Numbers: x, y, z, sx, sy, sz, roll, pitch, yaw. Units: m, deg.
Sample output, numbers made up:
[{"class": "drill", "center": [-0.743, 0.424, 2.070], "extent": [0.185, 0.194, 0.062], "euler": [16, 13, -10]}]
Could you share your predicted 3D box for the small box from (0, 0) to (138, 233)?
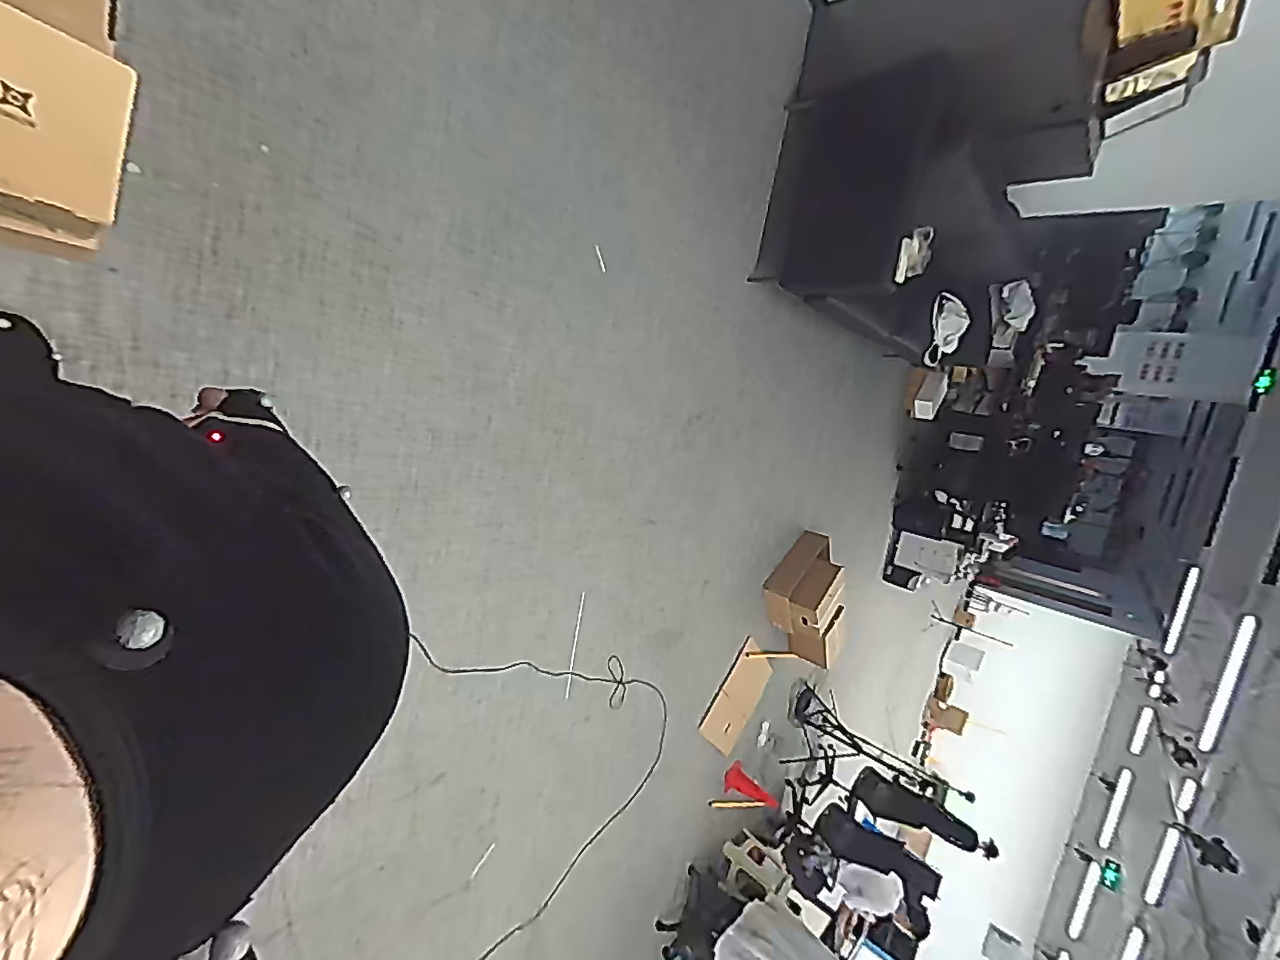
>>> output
[{"class": "small box", "center": [-0.689, -0.395, 0.593], "extent": [0.168, 0.176, 0.179], "euler": [7, 96, -52]}]
